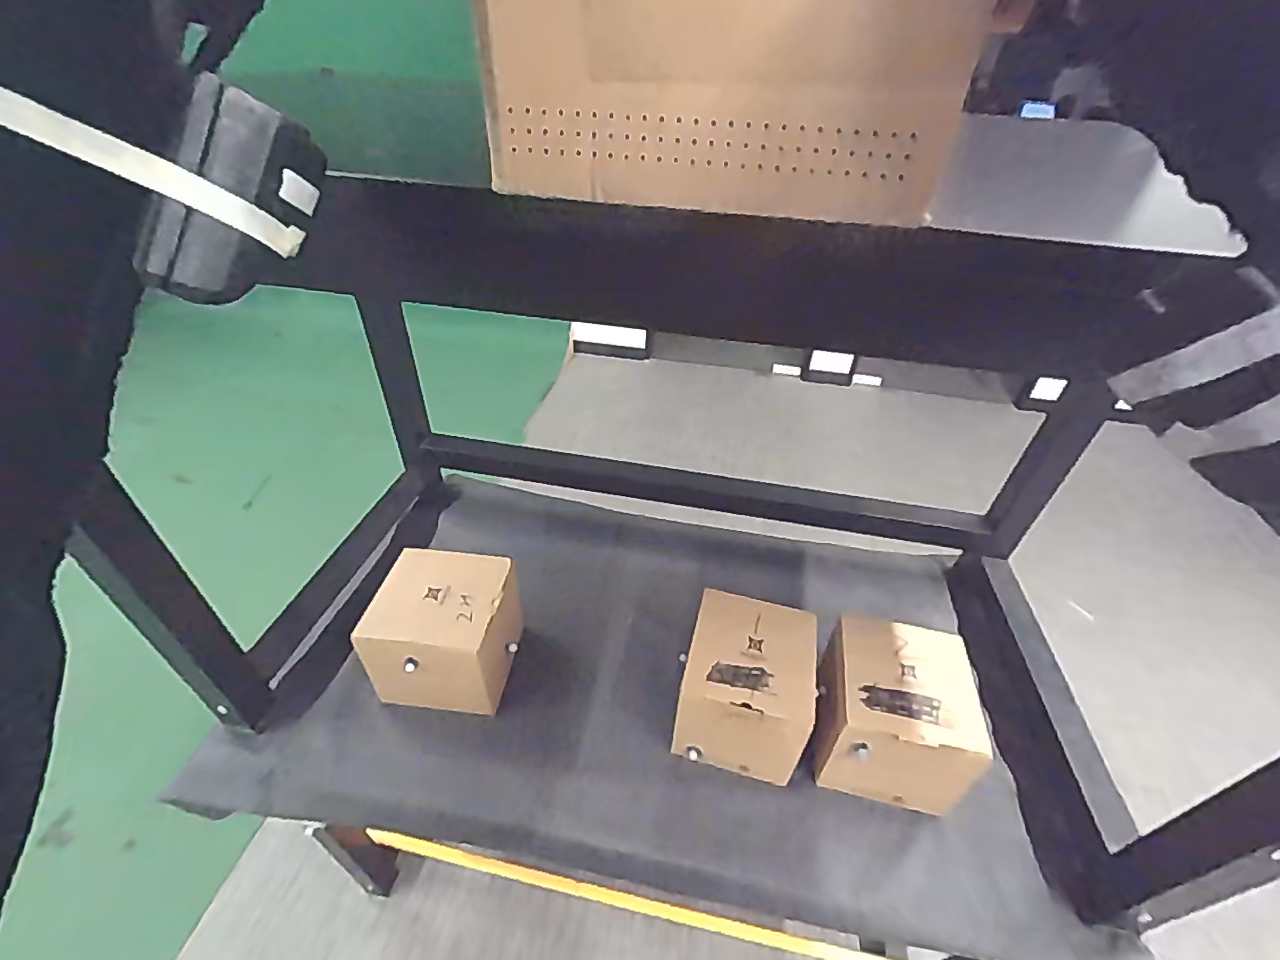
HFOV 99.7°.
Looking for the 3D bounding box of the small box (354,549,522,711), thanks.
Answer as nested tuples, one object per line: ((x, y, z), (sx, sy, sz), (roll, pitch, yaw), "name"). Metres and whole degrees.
((-0.291, 0.229, 0.823), (0.179, 0.176, 0.168), (6, 39, 3), "small box")
